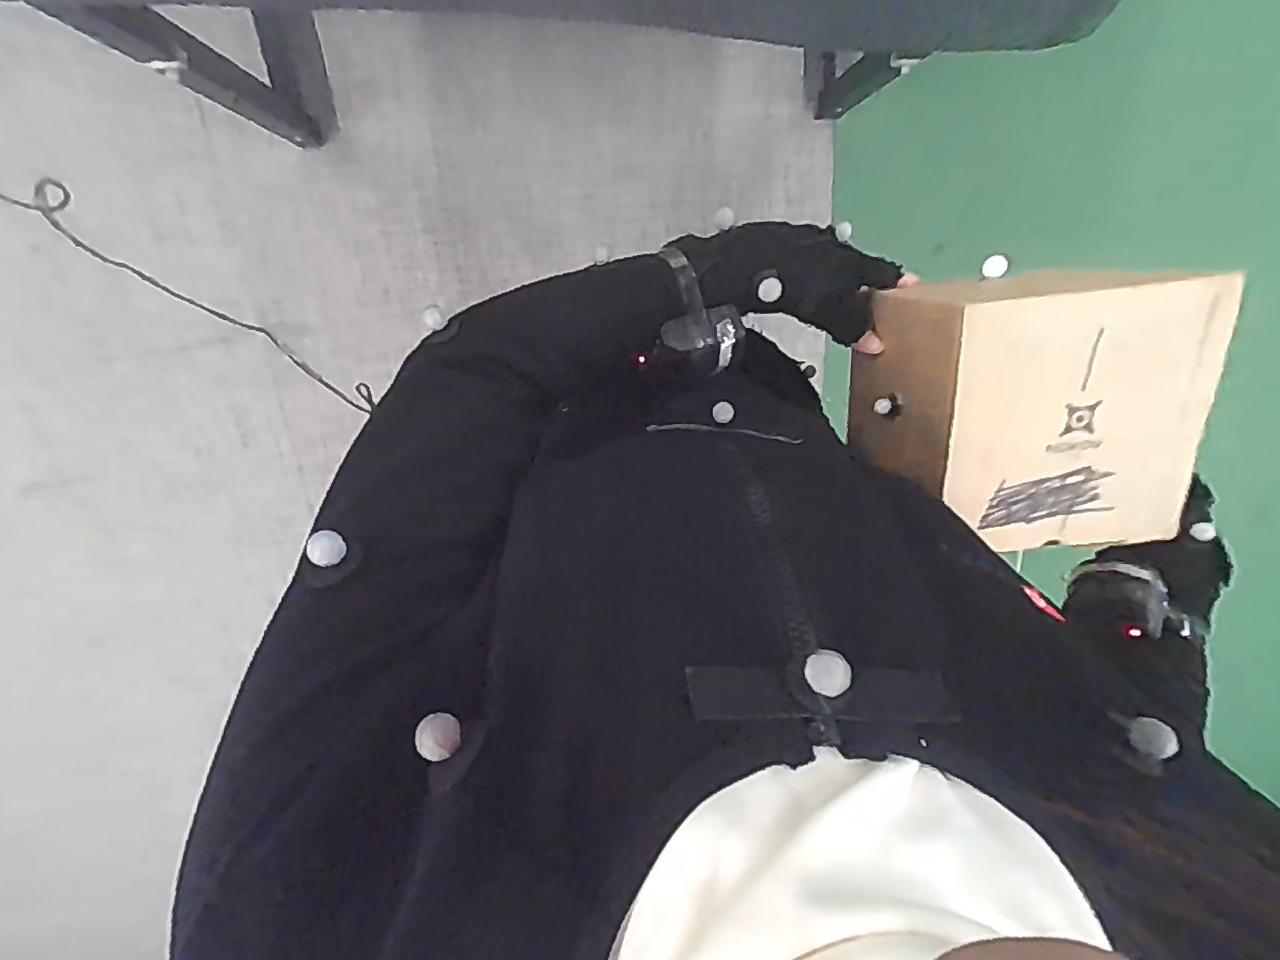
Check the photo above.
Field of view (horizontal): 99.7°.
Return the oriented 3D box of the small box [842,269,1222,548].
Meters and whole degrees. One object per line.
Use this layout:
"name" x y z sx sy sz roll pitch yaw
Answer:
"small box" 0.272 -0.067 0.429 0.168 0.176 0.179 -5 112 0
